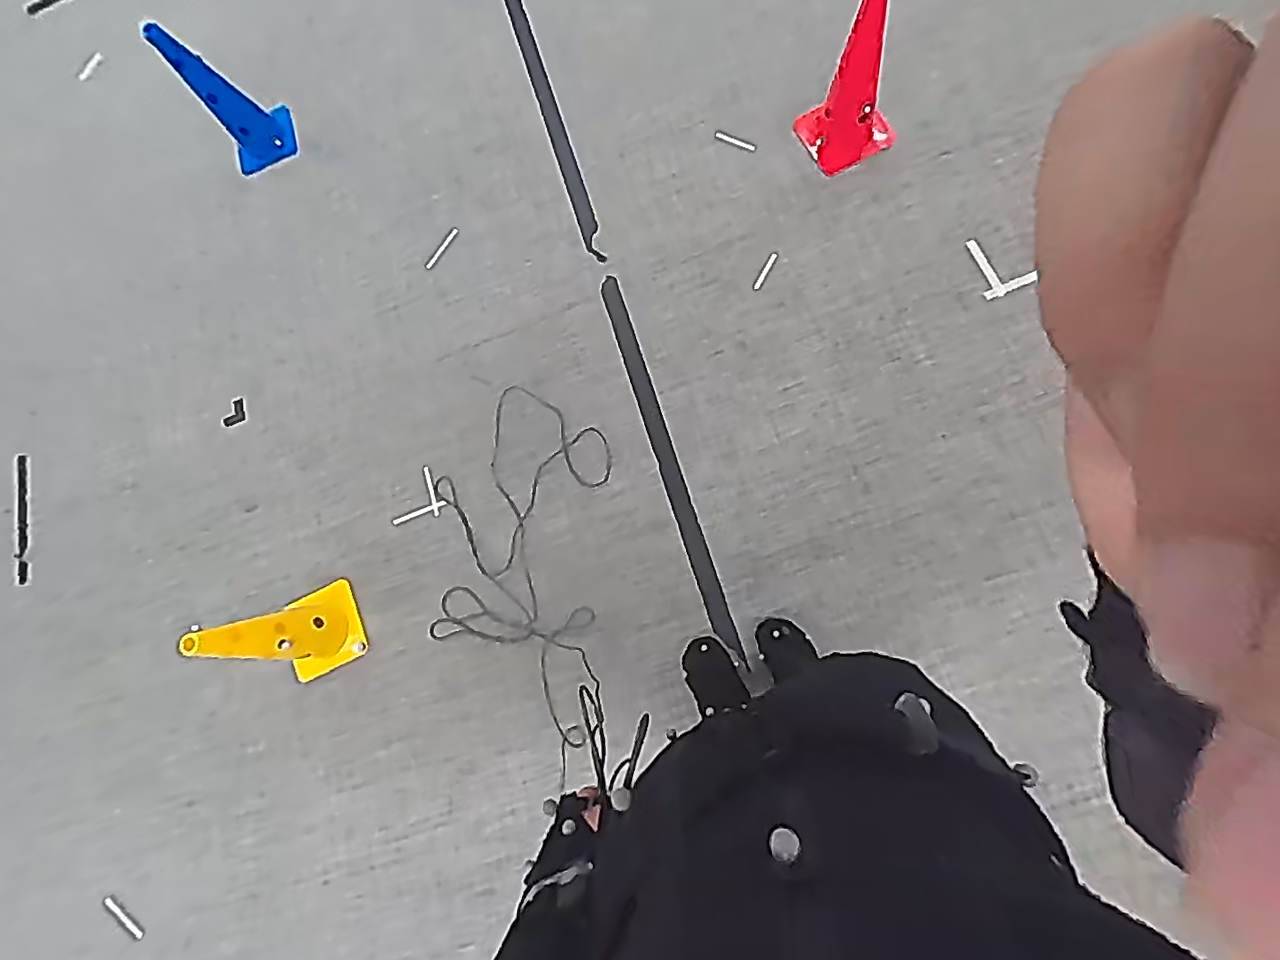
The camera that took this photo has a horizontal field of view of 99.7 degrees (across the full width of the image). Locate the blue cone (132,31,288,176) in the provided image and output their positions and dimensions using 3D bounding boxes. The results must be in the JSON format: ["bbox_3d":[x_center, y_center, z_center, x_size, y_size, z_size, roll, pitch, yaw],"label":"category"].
[{"bbox_3d":[-1.231,-1.095,1.548,0.192,0.380,0.193,-19,76,6],"label":"blue cone"}]

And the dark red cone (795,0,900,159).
[{"bbox_3d":[0.486,-0.942,1.193,0.201,0.394,0.202,-28,75,4],"label":"dark red cone"}]
